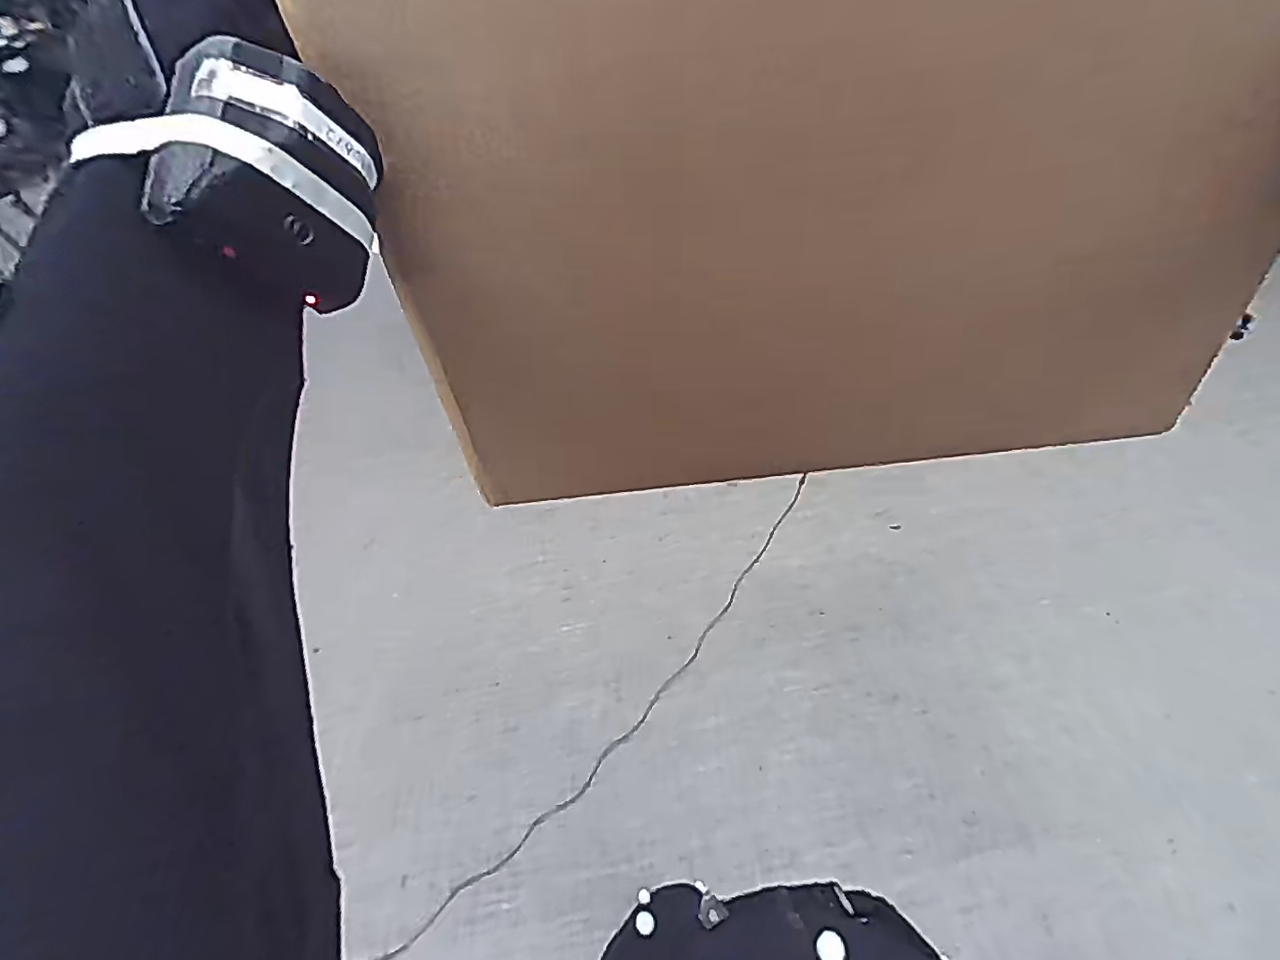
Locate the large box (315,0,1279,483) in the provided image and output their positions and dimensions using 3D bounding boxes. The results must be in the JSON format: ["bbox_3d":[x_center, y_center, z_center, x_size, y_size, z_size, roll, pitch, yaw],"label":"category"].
[{"bbox_3d":[0.081,-0.223,0.345,0.408,0.320,0.320,-5,40,2],"label":"large box"}]
